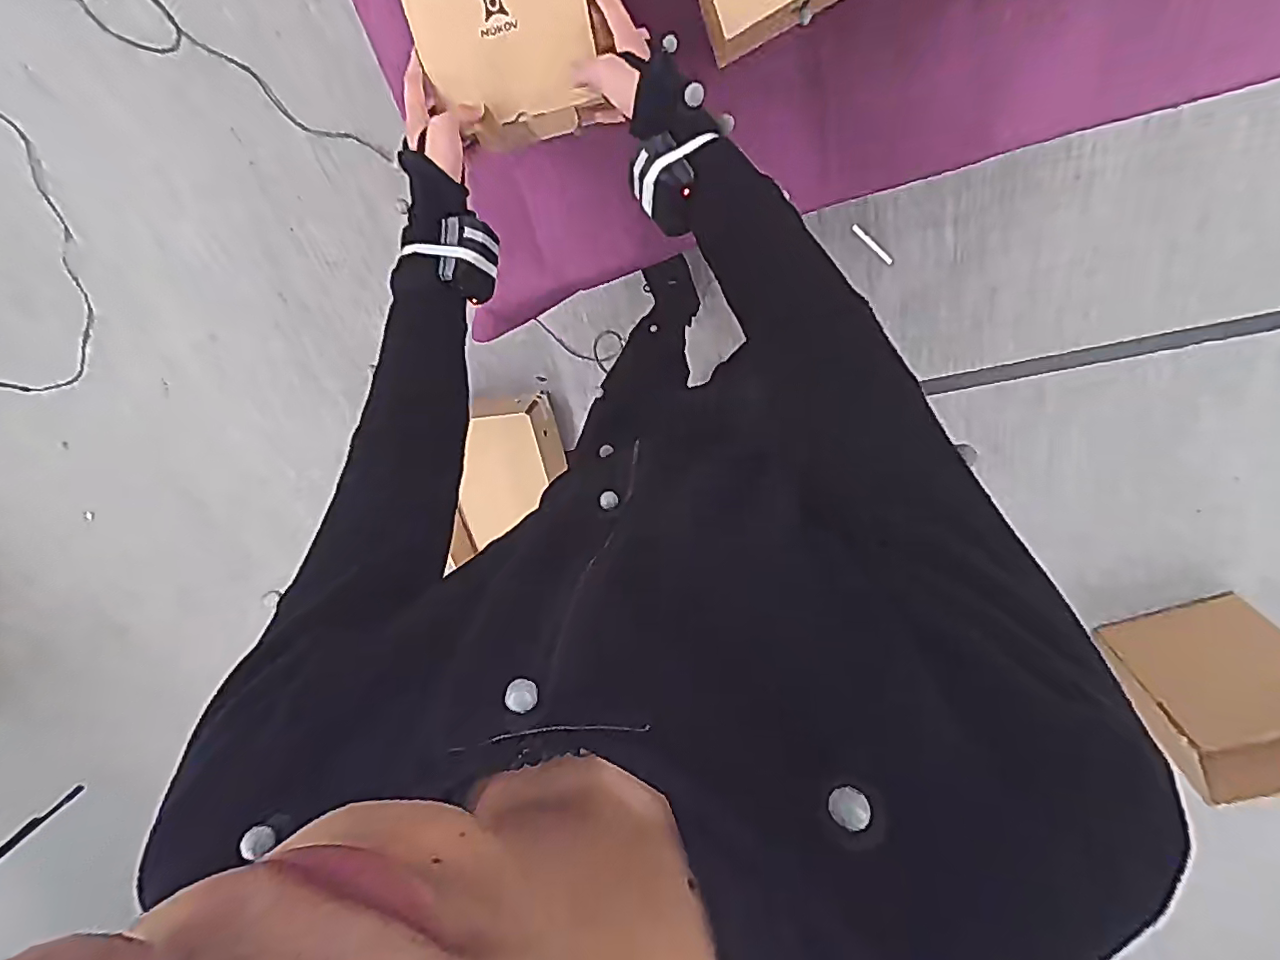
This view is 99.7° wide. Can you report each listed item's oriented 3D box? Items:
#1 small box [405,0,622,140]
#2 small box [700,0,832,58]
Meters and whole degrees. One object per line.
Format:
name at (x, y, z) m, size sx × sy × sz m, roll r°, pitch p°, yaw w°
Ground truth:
small box at (-0.120, -0.462, 0.549) m, size 0.168 × 0.176 × 0.179 m, roll -8°, pitch 119°, yaw 9°
small box at (0.126, -0.524, 0.487) m, size 0.179 × 0.176 × 0.168 m, roll -20°, pitch 117°, yaw 16°
